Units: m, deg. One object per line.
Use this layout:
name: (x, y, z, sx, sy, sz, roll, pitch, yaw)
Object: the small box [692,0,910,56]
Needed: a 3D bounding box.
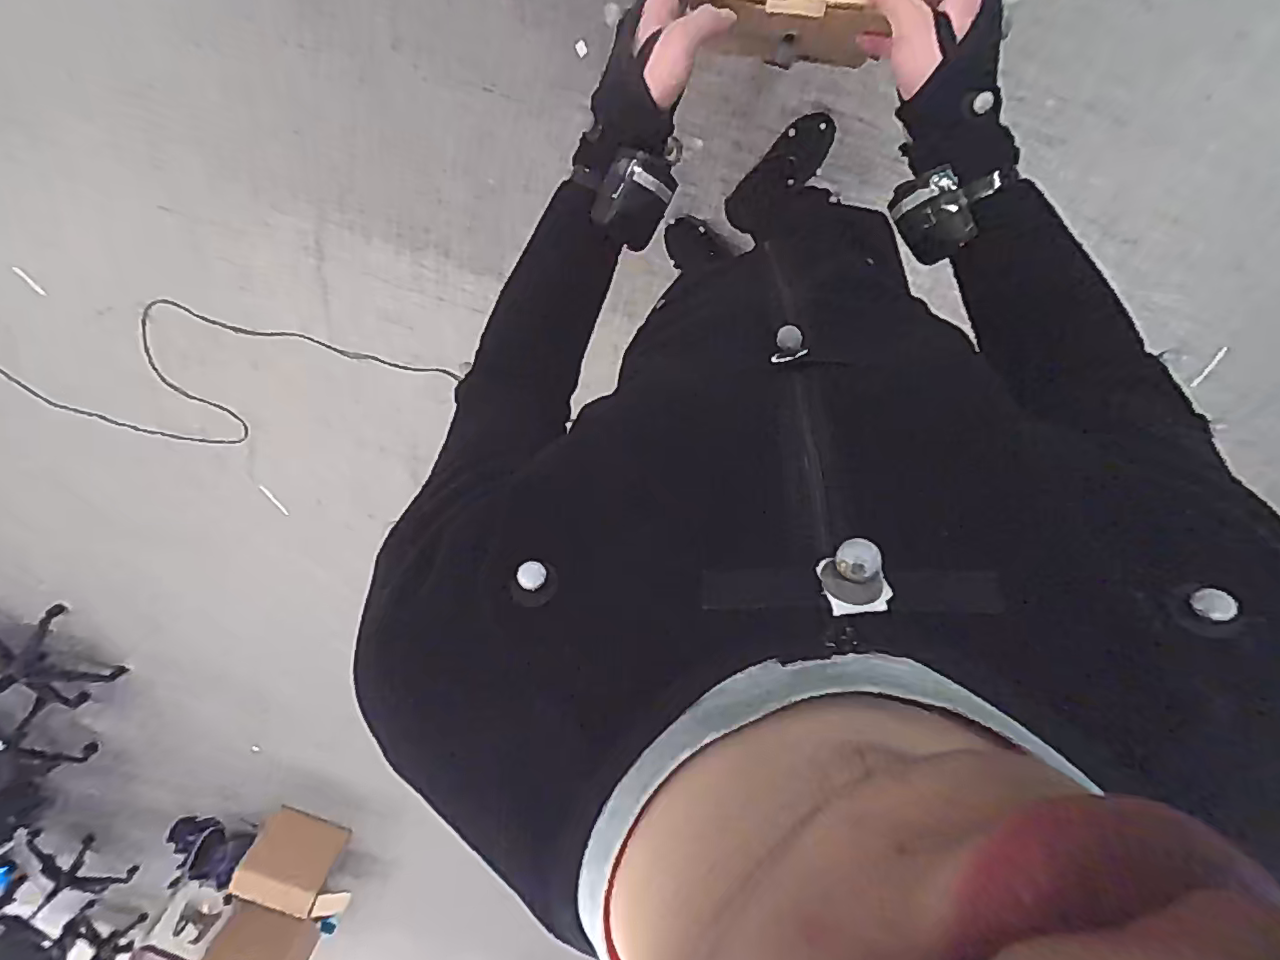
small box: (0.138, -0.461, 0.423, 0.168, 0.176, 0.179, 10, 117, 5)
